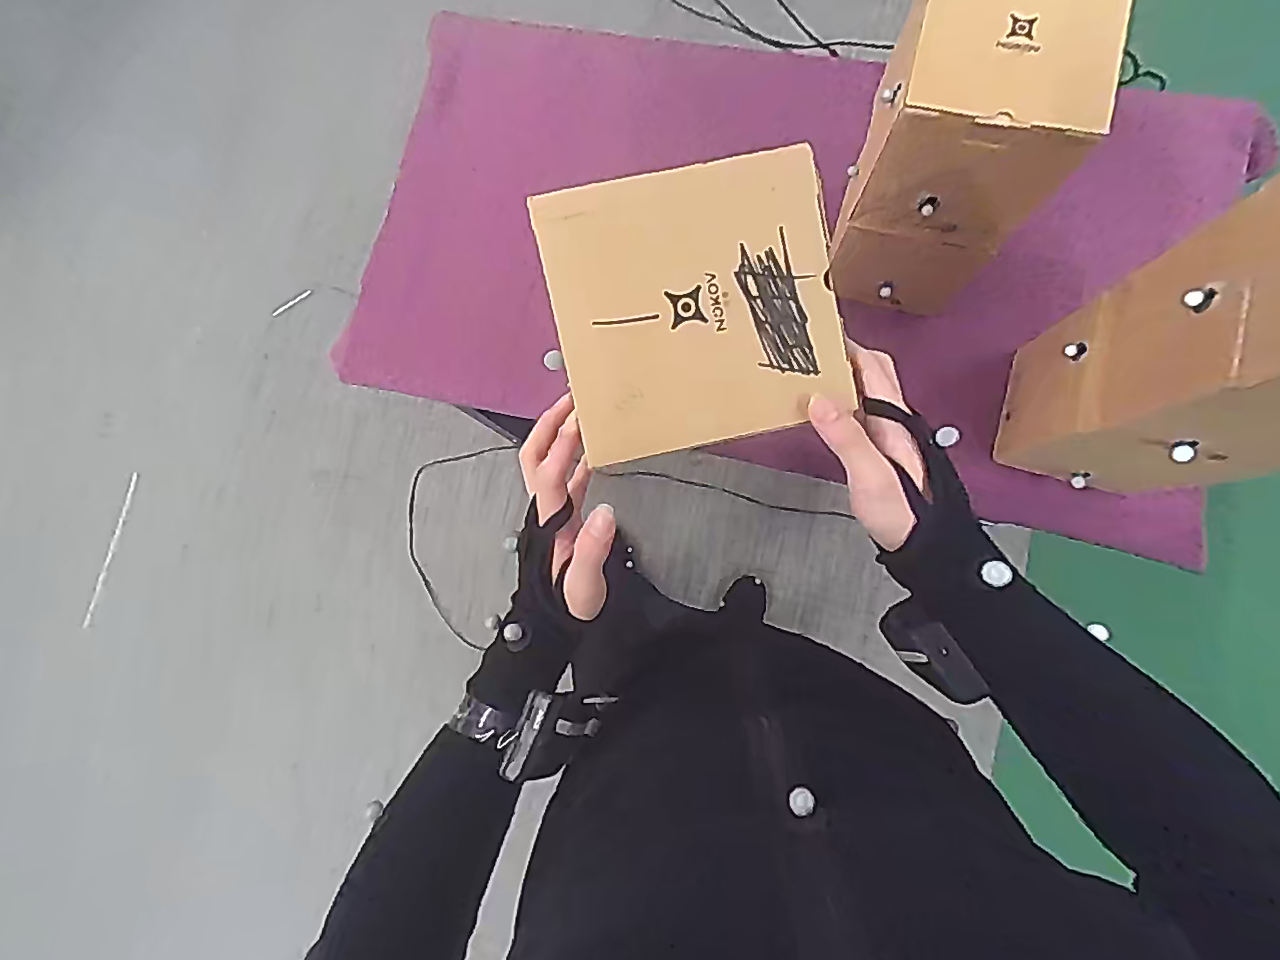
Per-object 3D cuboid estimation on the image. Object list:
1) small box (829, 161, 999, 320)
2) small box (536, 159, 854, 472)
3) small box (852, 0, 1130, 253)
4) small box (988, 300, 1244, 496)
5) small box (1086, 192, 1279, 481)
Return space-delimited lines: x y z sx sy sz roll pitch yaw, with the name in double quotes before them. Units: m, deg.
"small box" 0.354 -0.339 0.705 0.168 0.176 0.179 17 84 8
"small box" 0.030 -0.106 0.409 0.179 0.176 0.168 -12 94 -3
"small box" 0.332 -0.365 0.546 0.168 0.176 0.179 14 85 7
"small box" 0.566 -0.085 0.648 0.179 0.176 0.168 17 83 9
"small box" 0.553 -0.113 0.486 0.168 0.176 0.179 17 83 9
